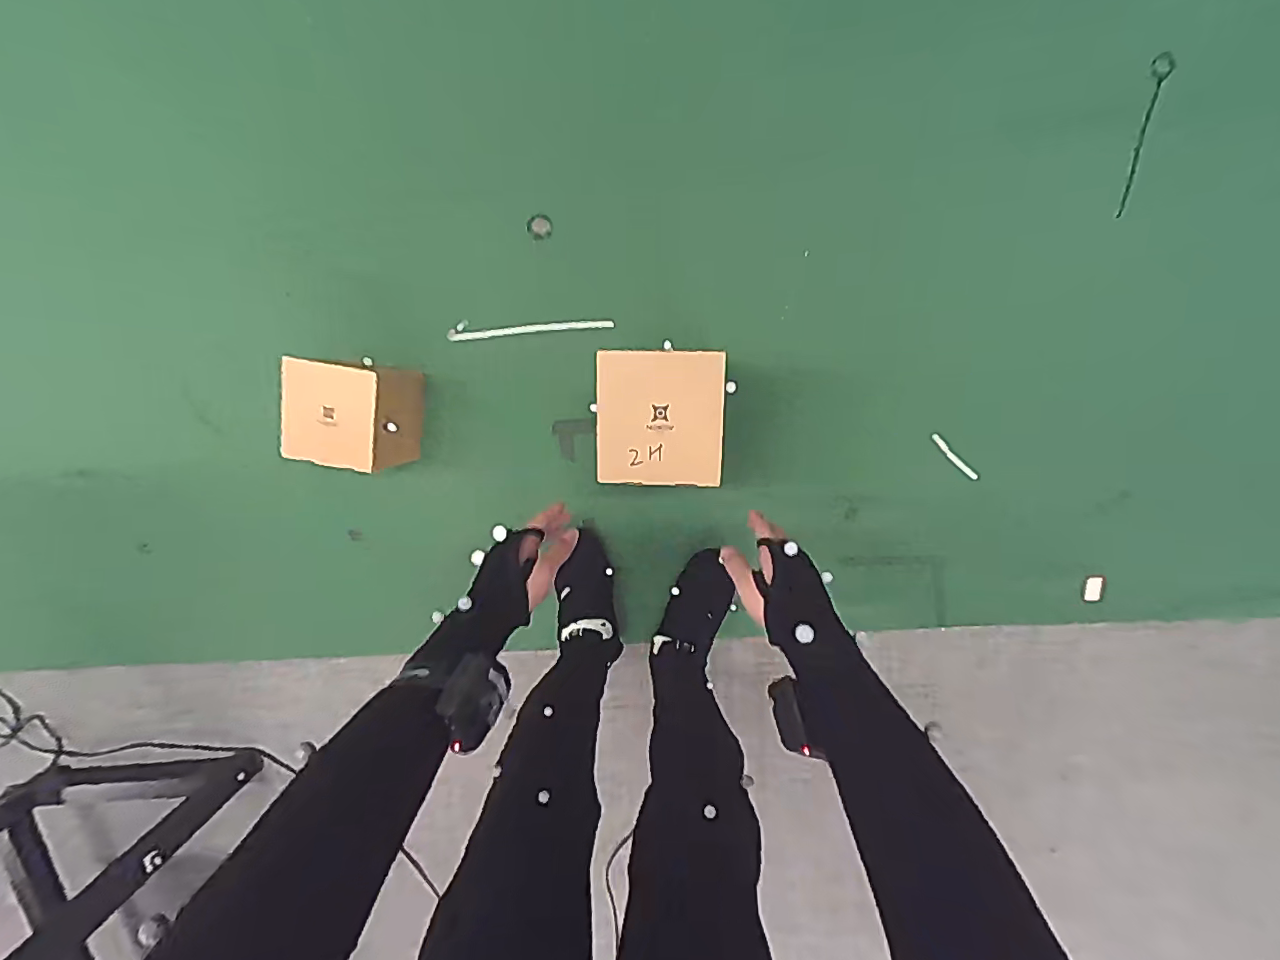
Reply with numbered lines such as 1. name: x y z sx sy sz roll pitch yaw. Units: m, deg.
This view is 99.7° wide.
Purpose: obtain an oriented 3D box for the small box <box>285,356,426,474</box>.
1. small box: -0.508 -0.126 0.985 0.168 0.176 0.179 10 104 3

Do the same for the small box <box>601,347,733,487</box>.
1. small box: 0.038 -0.095 0.769 0.168 0.176 0.179 2 102 5
